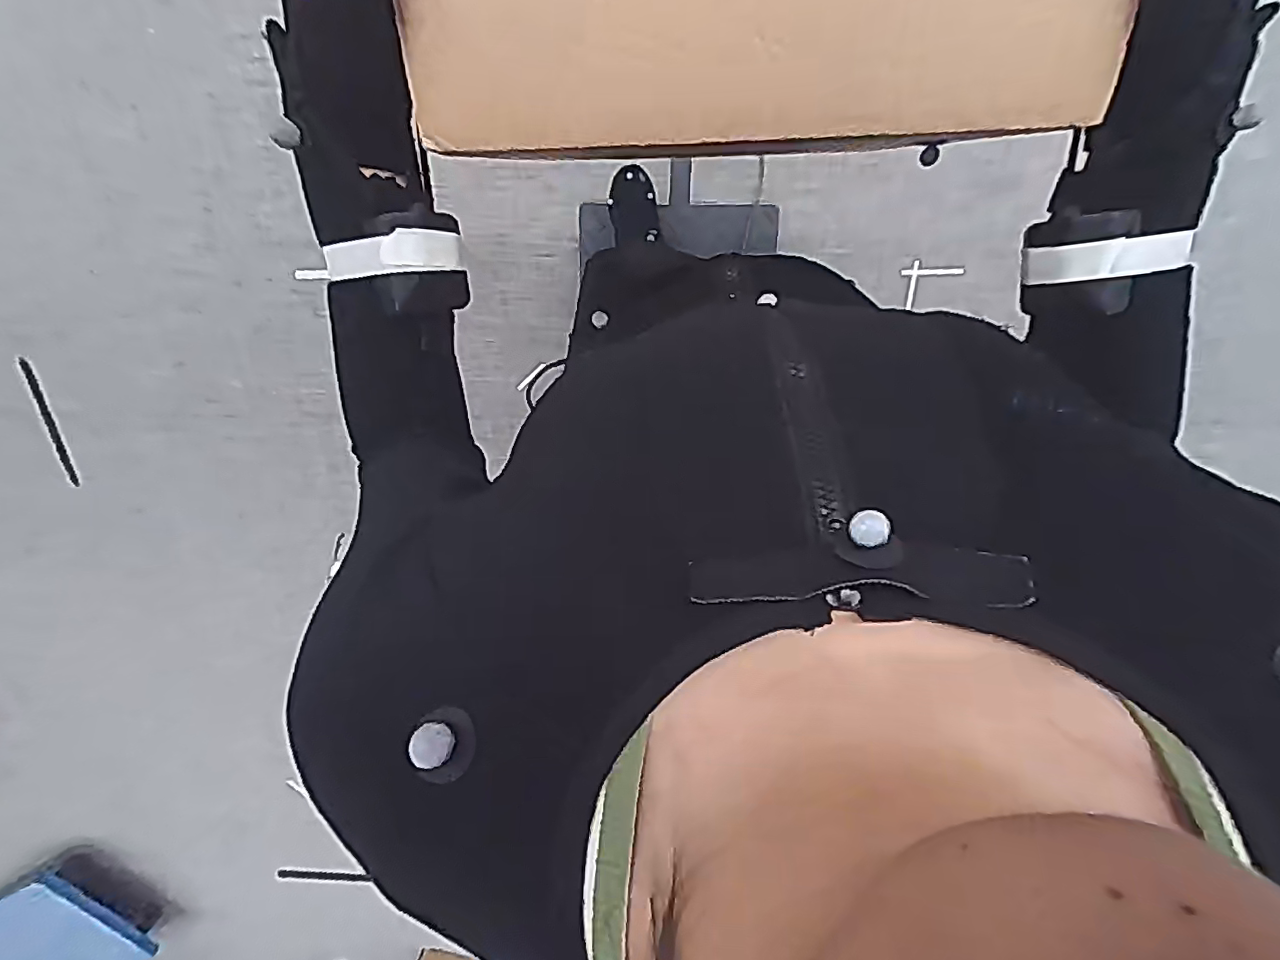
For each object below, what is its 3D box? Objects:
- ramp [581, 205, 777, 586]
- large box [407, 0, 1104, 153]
[{"bbox_3d":[0.086,-0.194,1.441,0.509,0.206,0.991,0,112,3],"label":"ramp"},{"bbox_3d":[0.065,-0.425,0.390,0.408,0.320,0.320,-1,119,2],"label":"large box"}]
